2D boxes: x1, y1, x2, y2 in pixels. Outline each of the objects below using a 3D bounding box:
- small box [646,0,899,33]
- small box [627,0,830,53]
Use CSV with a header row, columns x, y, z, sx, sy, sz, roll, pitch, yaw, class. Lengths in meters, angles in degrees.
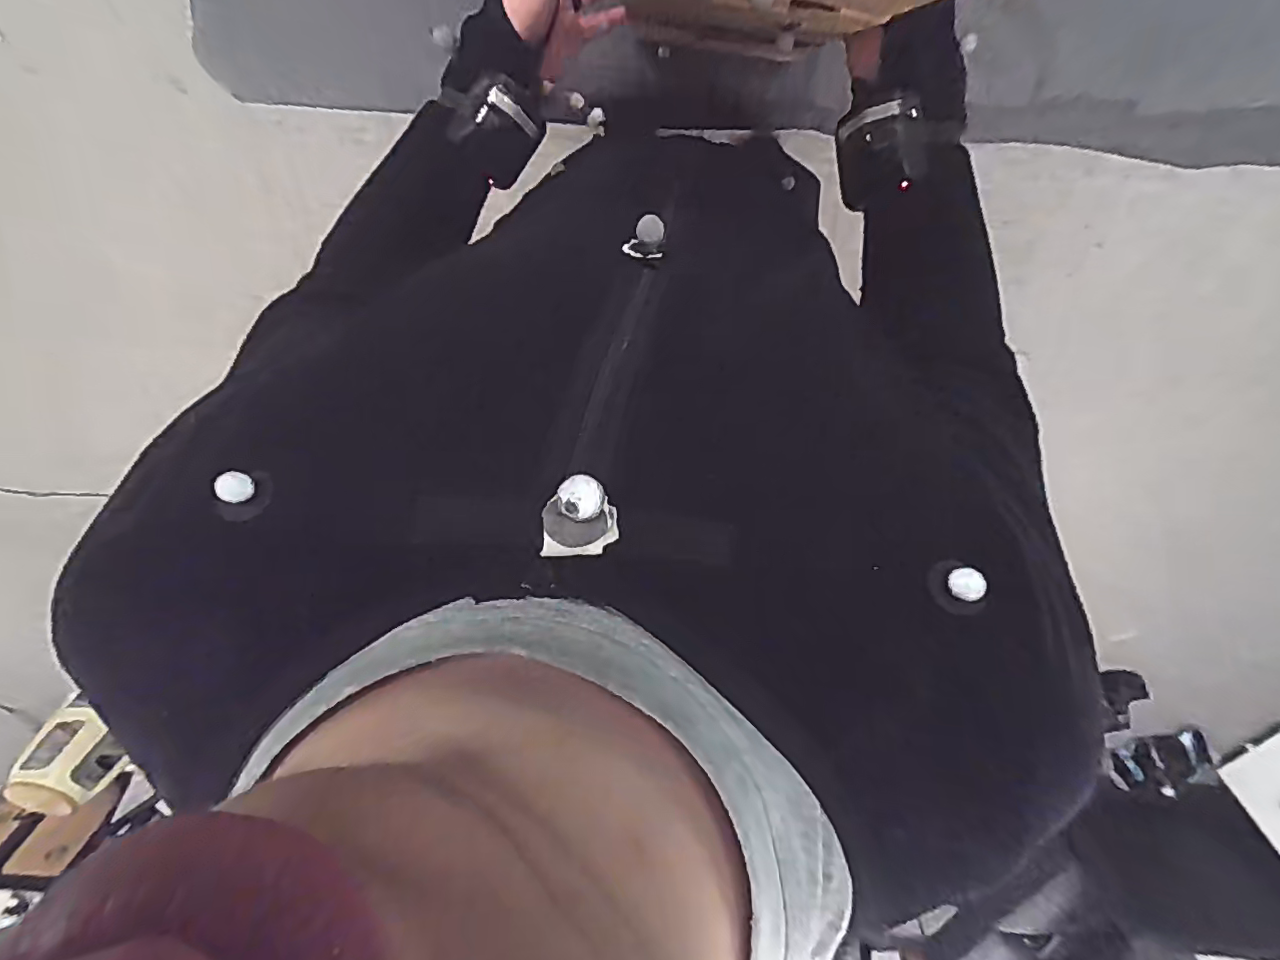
x,y,z,sx,sy,sz,roll,pitch,yaw,class
0.078,-0.385,0.313,0.168,0.176,0.179,7,125,-2,small box
0.086,-0.475,0.446,0.168,0.176,0.179,7,125,-1,small box
